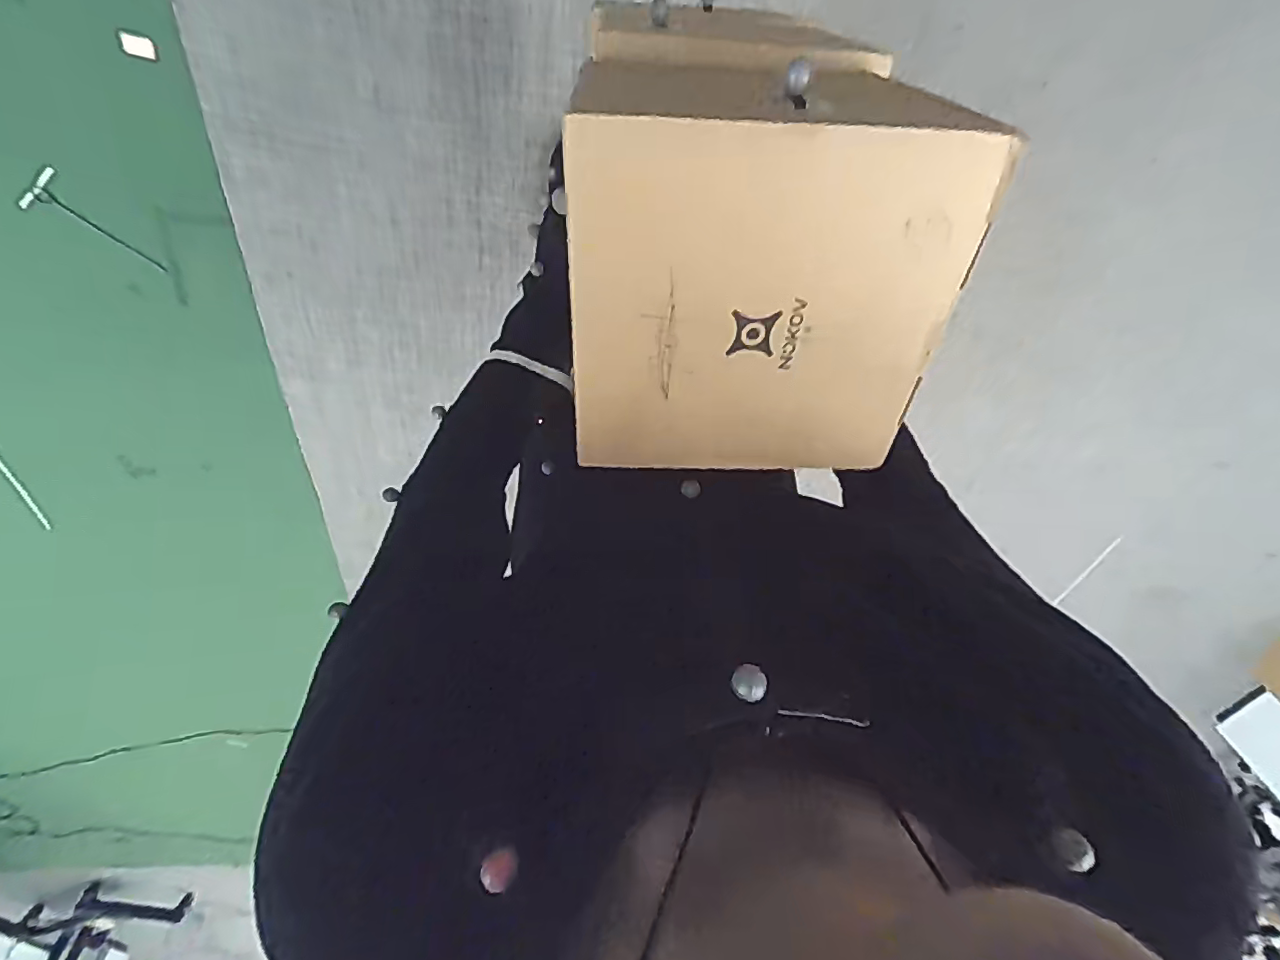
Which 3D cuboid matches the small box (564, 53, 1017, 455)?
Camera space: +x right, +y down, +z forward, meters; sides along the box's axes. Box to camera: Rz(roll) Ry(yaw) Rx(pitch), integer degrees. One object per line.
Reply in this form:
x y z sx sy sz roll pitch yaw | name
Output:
0.050 -0.131 0.310 0.179 0.176 0.168 1 133 -3 | small box
